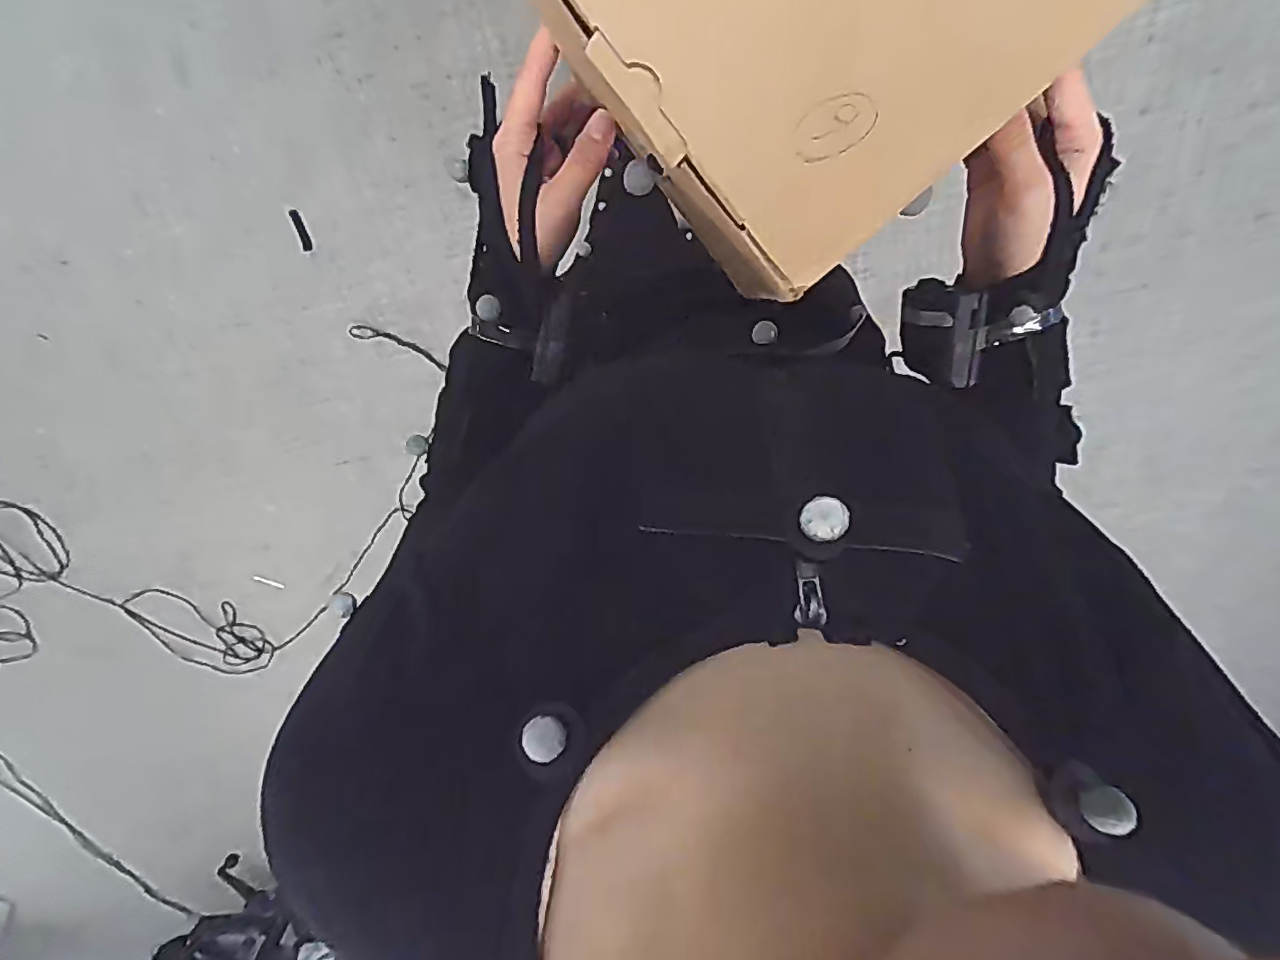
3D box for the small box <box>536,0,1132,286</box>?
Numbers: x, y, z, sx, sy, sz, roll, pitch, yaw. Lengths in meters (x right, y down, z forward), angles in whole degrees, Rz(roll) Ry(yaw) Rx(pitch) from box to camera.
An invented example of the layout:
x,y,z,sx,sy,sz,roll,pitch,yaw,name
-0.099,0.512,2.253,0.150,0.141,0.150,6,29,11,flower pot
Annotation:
x,y,z,sx,sy,sz,roll,pitch,yaw,name
0.069,-0.200,0.224,0.179,0.176,0.168,-38,101,17,small box
